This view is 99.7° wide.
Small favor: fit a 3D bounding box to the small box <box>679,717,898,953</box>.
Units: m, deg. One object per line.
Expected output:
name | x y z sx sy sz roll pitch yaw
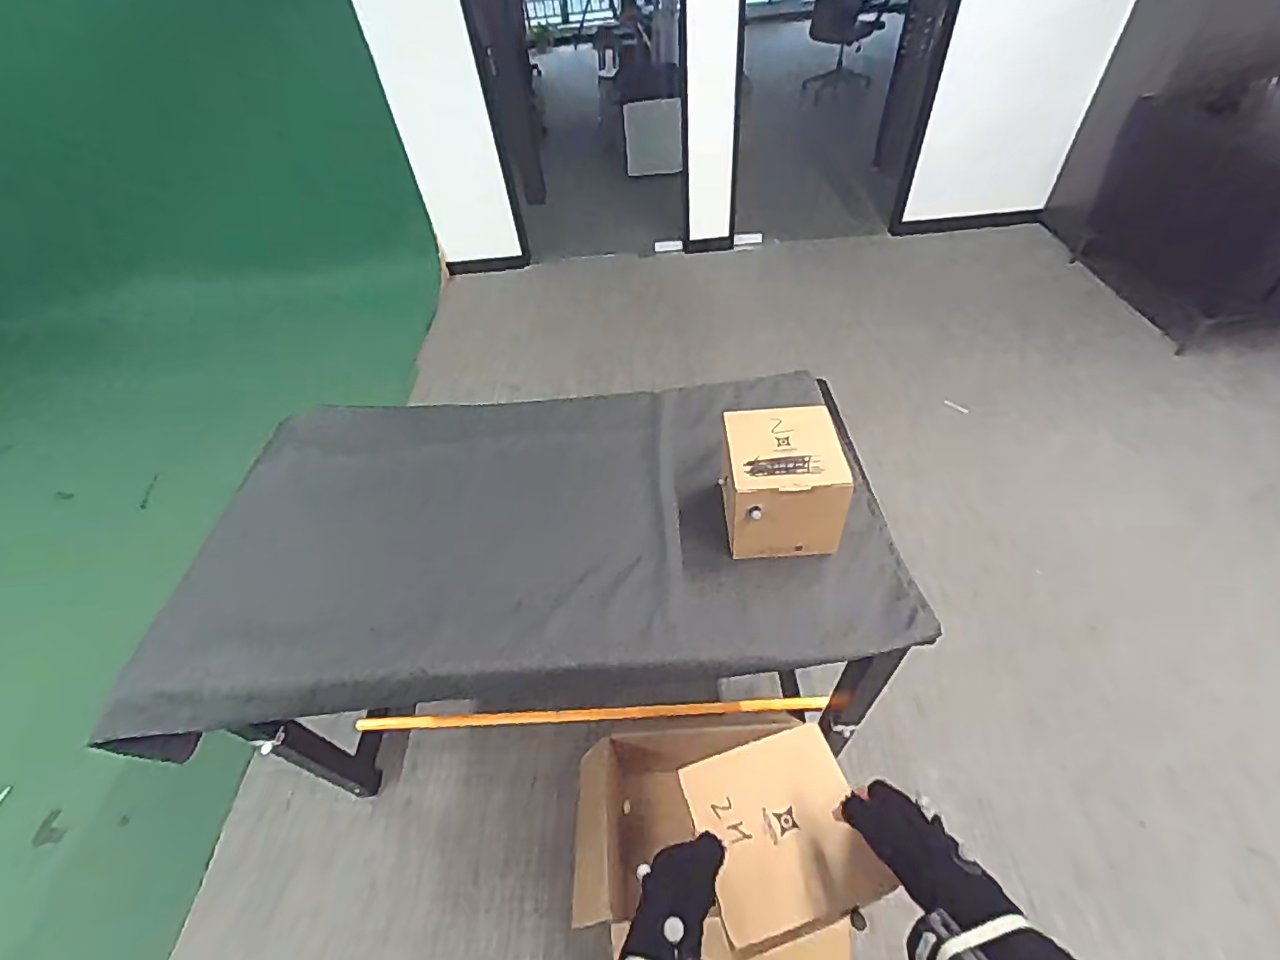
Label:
small box | 0.156 0.407 0.621 0.179 0.176 0.168 -17 44 -5
